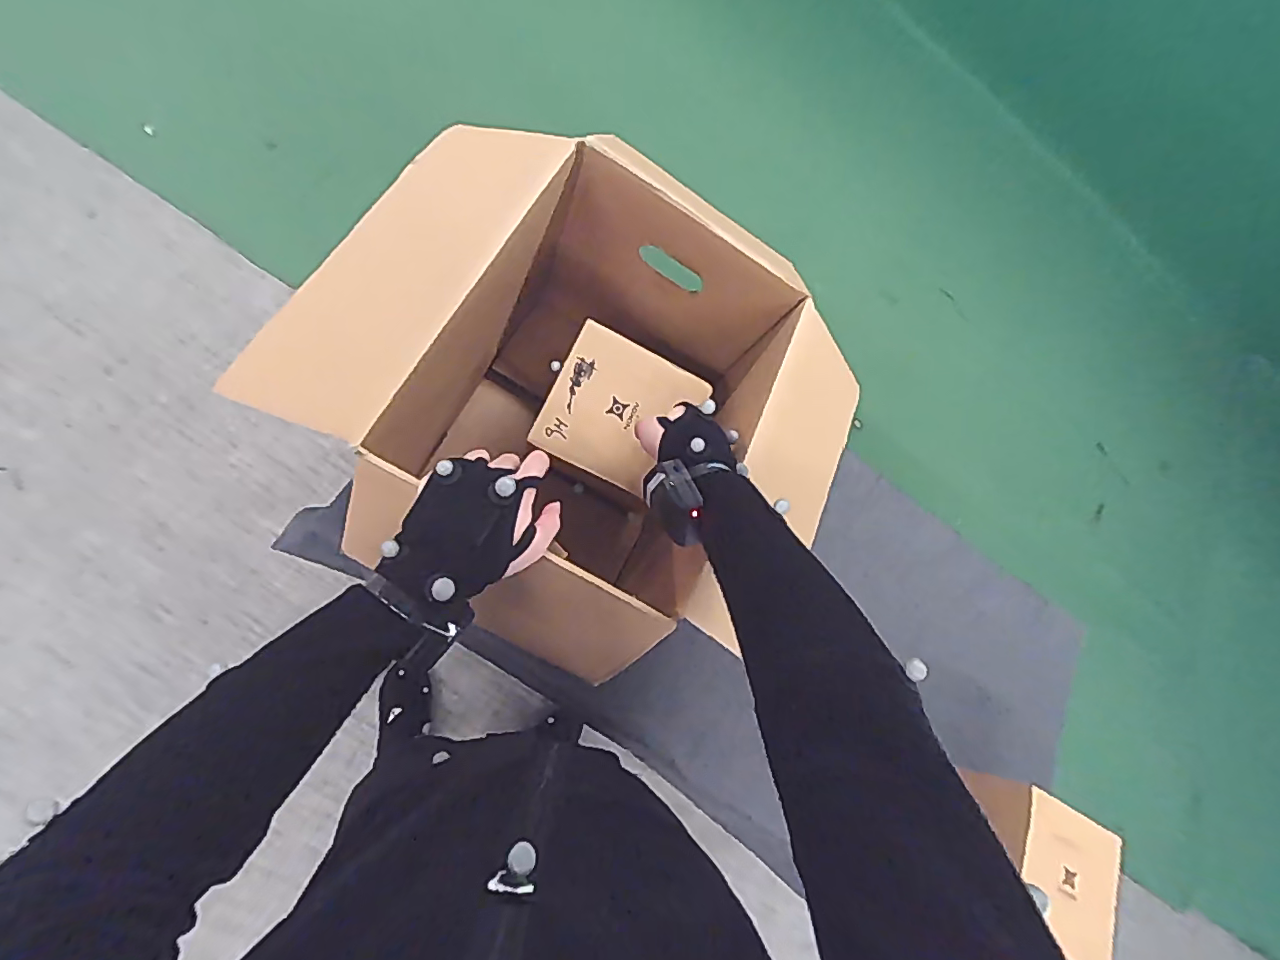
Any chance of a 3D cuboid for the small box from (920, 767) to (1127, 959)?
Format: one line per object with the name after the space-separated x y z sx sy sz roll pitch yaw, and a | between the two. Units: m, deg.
0.535 0.543 0.769 0.168 0.176 0.179 32 65 -8 | small box
